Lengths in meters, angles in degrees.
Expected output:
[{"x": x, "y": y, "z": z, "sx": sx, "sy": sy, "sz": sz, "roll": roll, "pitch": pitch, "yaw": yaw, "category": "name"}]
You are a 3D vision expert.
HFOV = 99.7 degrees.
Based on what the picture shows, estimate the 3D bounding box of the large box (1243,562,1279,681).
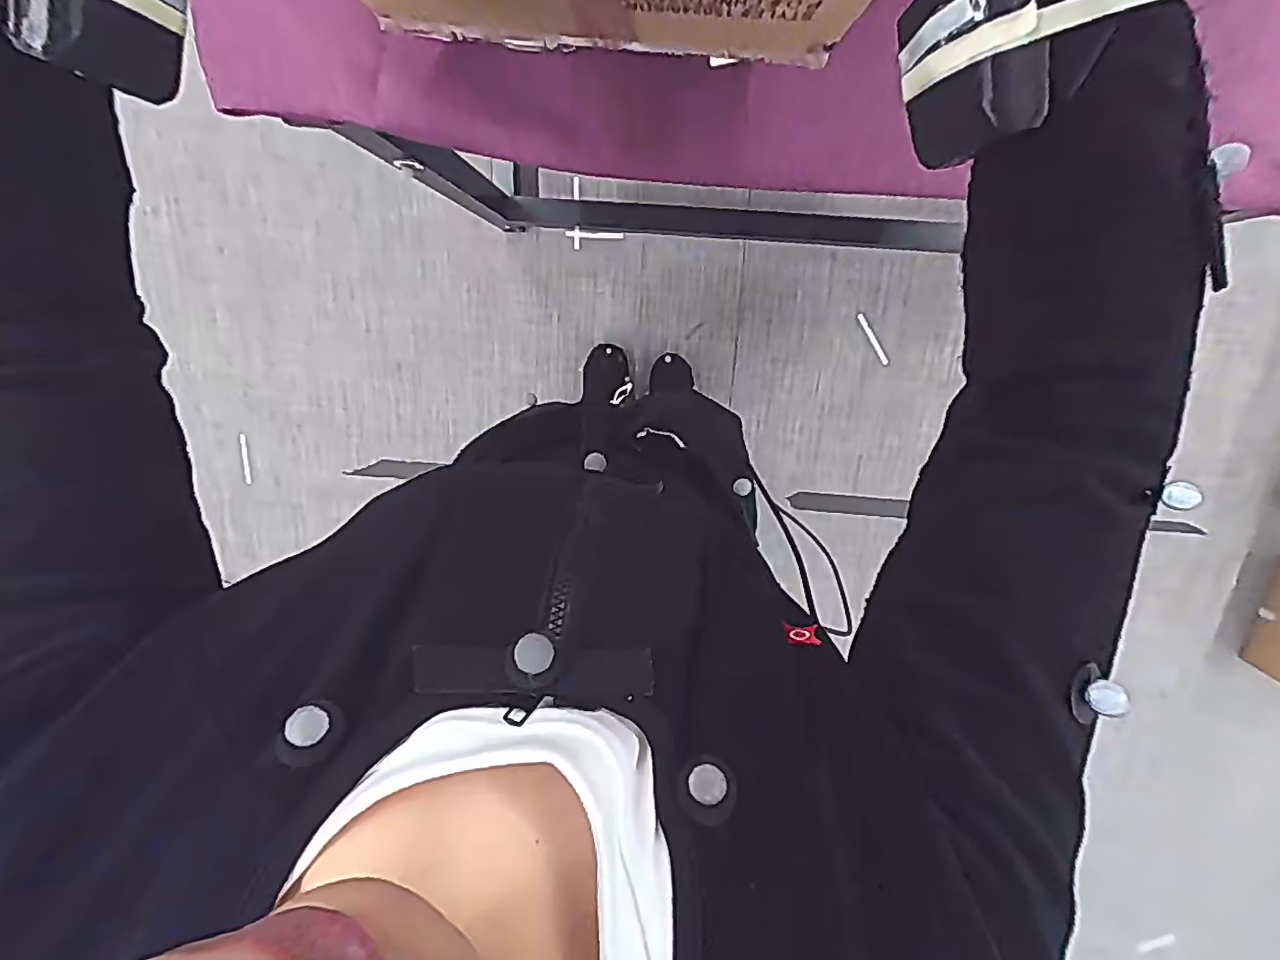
[{"x": 1.818, "y": 0.390, "z": 1.268, "sx": 0.408, "sy": 0.320, "sz": 0.320, "roll": 3, "pitch": 105, "yaw": 3, "category": "large box"}]
